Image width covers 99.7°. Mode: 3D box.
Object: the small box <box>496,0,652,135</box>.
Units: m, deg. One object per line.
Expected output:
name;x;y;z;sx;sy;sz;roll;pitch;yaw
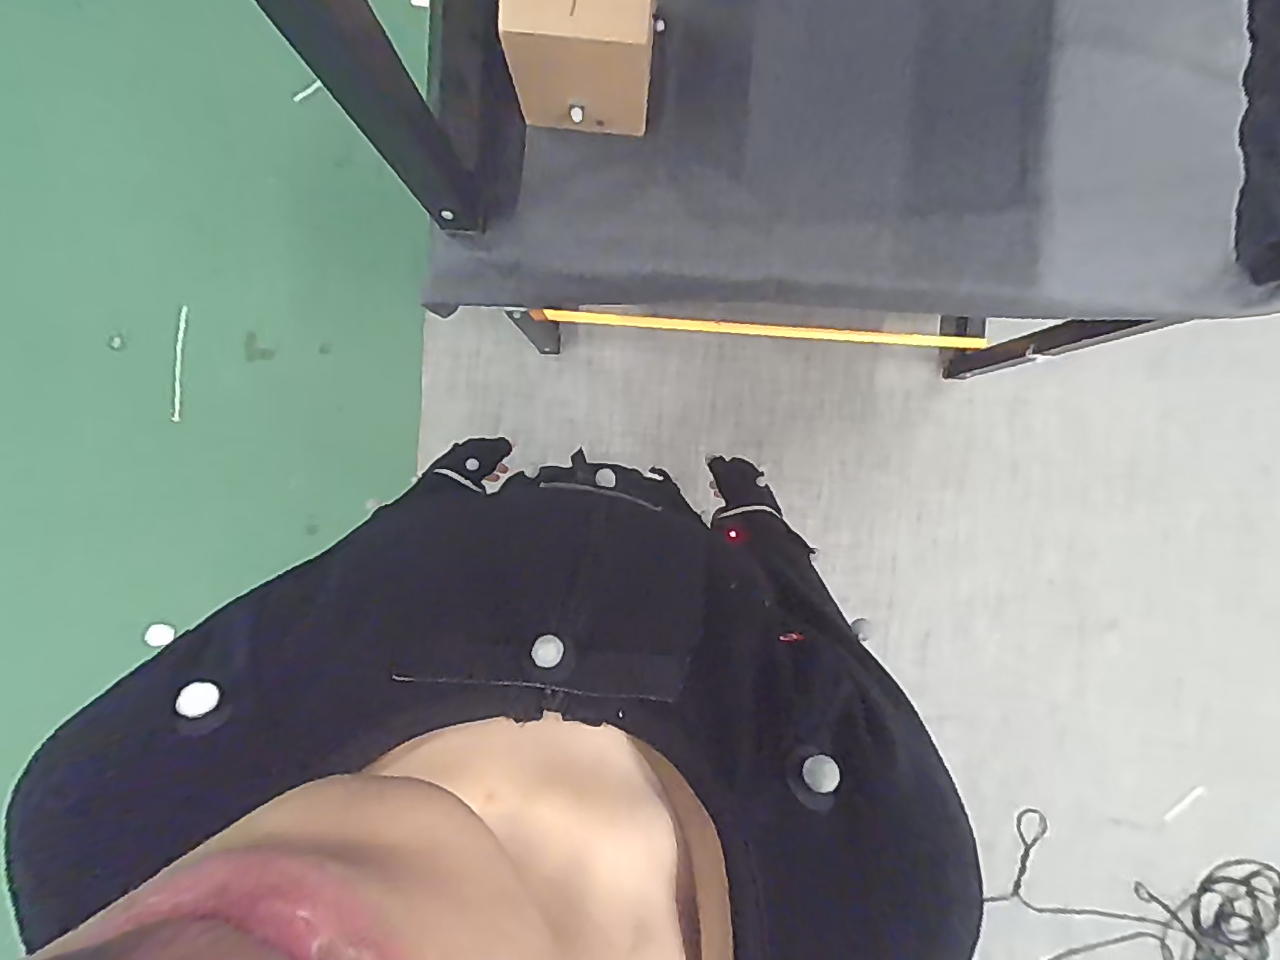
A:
small box;-0.070;-0.567;0.662;0.168;0.176;0.179;4;92;-1
